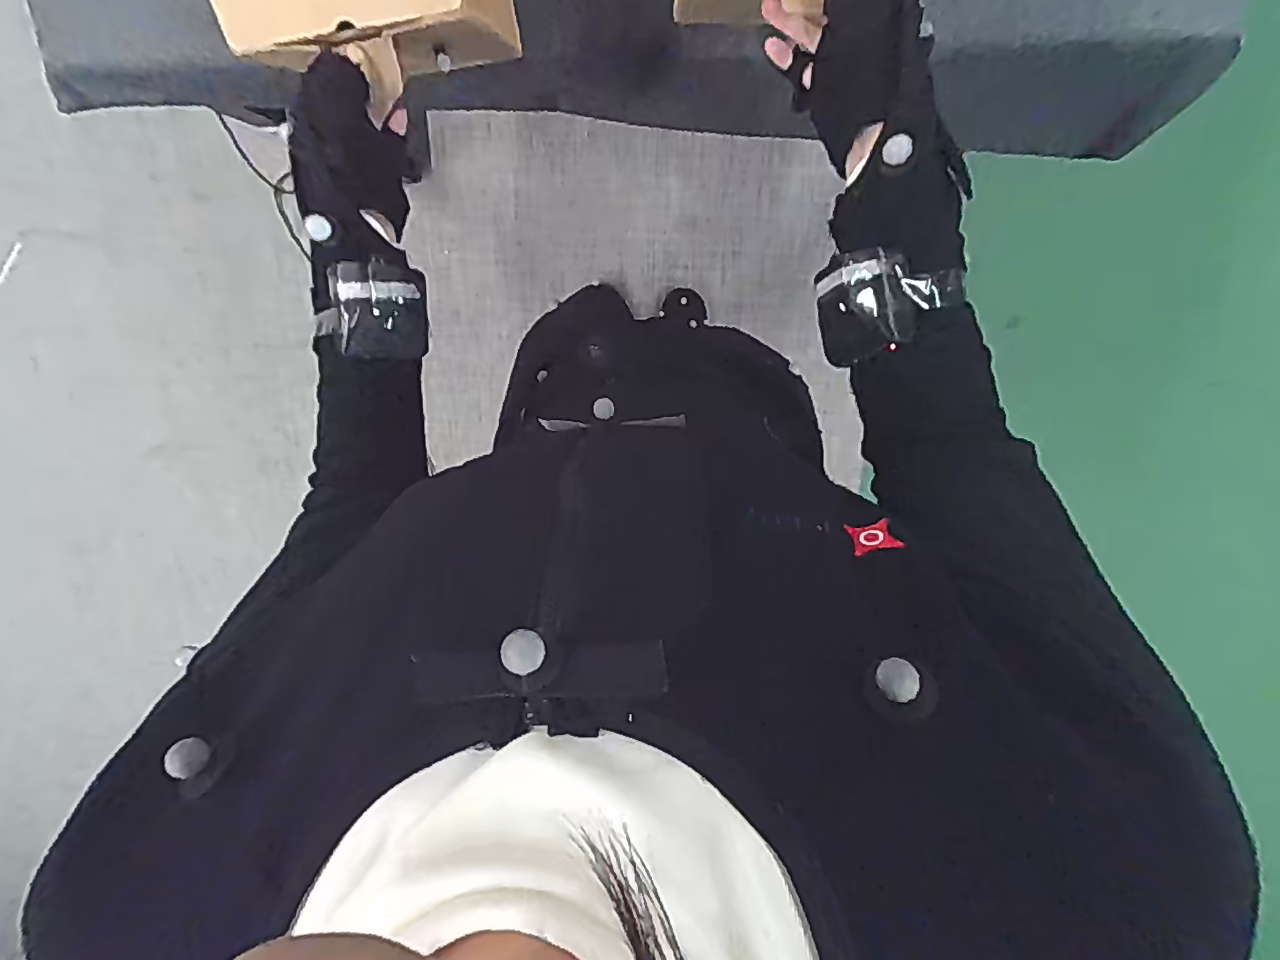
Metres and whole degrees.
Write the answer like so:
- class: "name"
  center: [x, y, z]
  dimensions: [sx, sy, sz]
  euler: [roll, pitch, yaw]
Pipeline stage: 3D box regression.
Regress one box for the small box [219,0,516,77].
- class: "small box"
  center: [-0.203, -0.415, 0.392]
  dimensions: [0.168, 0.176, 0.179]
  euler: [-6, 119, 6]
